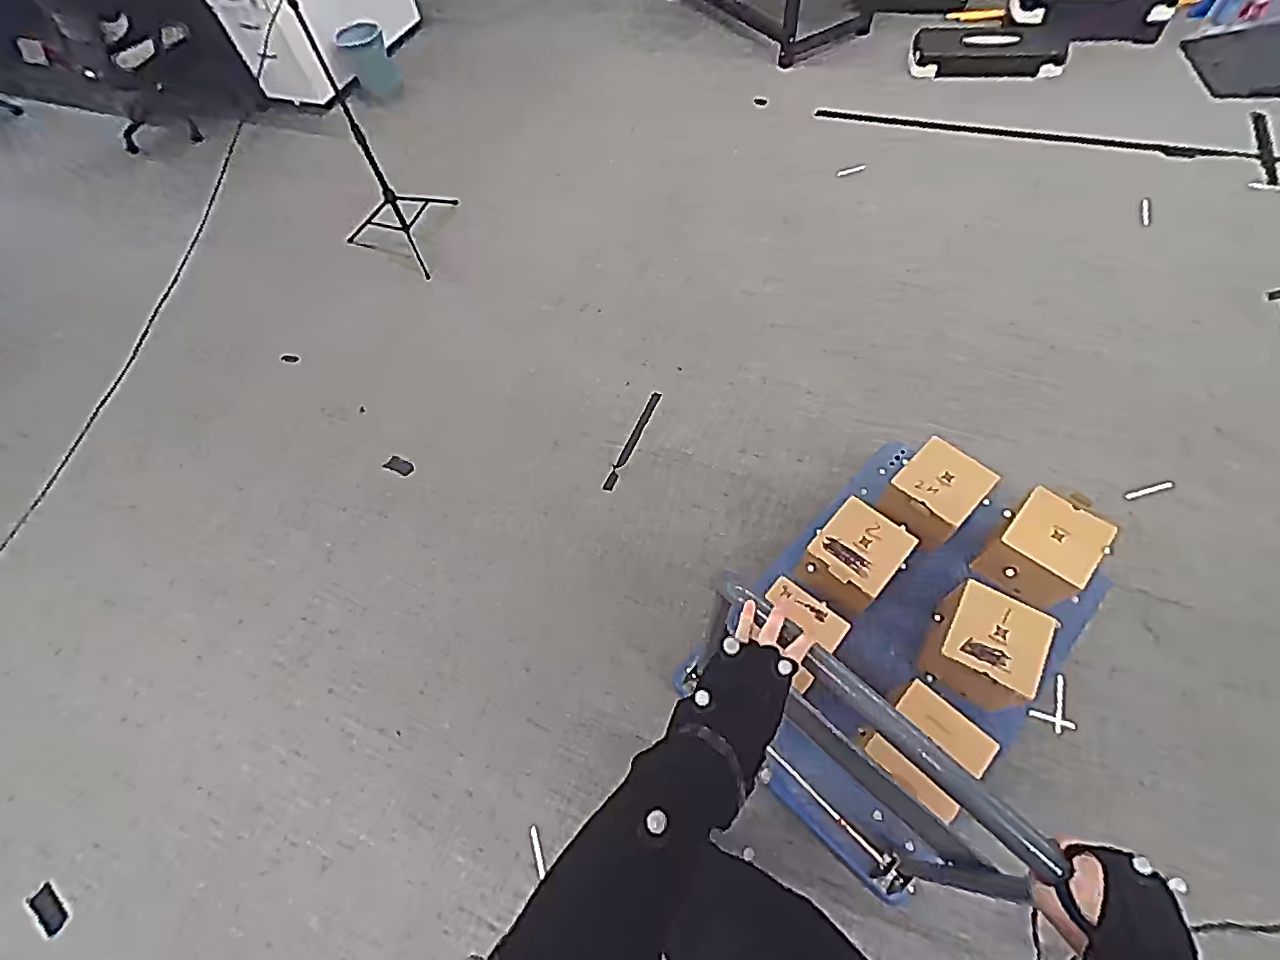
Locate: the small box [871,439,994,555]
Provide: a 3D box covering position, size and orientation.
[{"bbox_3d":[0.677,0.044,1.277,0.179,0.176,0.168,-41,65,-16],"label":"small box"}]

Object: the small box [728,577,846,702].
[{"bbox_3d":[0.301,0.344,1.144,0.168,0.176,0.179,37,70,22],"label":"small box"}]

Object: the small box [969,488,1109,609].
[{"bbox_3d":[0.867,0.158,1.197,0.168,0.176,0.179,37,70,23],"label":"small box"}]

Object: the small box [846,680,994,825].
[{"bbox_3d":[0.515,0.517,1.027,0.179,0.176,0.168,-42,65,-18],"label":"small box"}]

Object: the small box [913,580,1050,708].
[{"bbox_3d":[0.687,0.342,1.108,0.168,0.176,0.179,28,66,19],"label":"small box"}]
